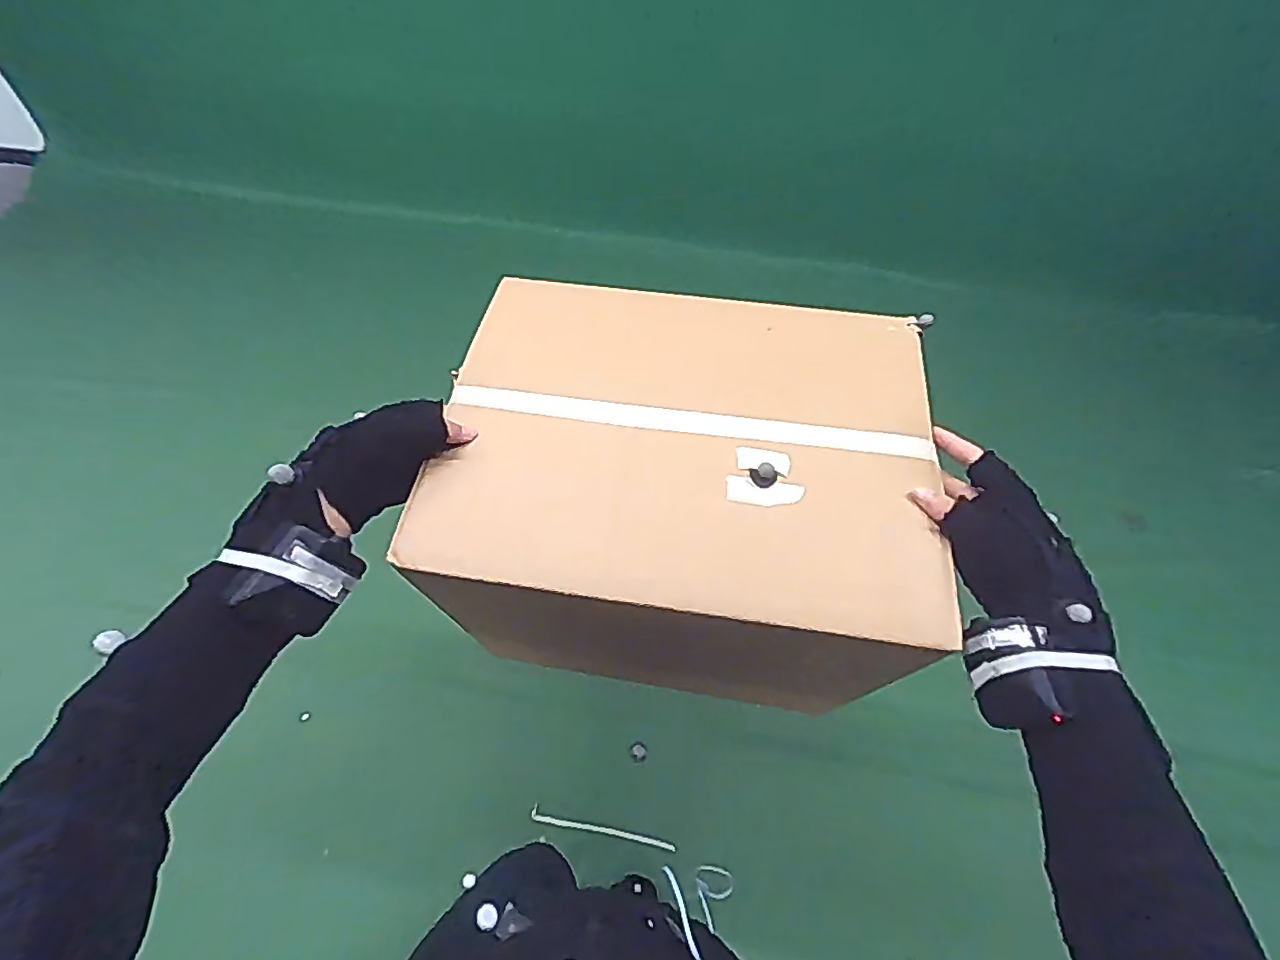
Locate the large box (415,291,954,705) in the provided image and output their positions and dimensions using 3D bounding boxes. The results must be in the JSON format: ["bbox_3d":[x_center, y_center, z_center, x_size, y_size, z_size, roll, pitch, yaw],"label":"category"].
[{"bbox_3d":[0.044,0.034,0.593,0.408,0.320,0.320,8,60,4],"label":"large box"}]
